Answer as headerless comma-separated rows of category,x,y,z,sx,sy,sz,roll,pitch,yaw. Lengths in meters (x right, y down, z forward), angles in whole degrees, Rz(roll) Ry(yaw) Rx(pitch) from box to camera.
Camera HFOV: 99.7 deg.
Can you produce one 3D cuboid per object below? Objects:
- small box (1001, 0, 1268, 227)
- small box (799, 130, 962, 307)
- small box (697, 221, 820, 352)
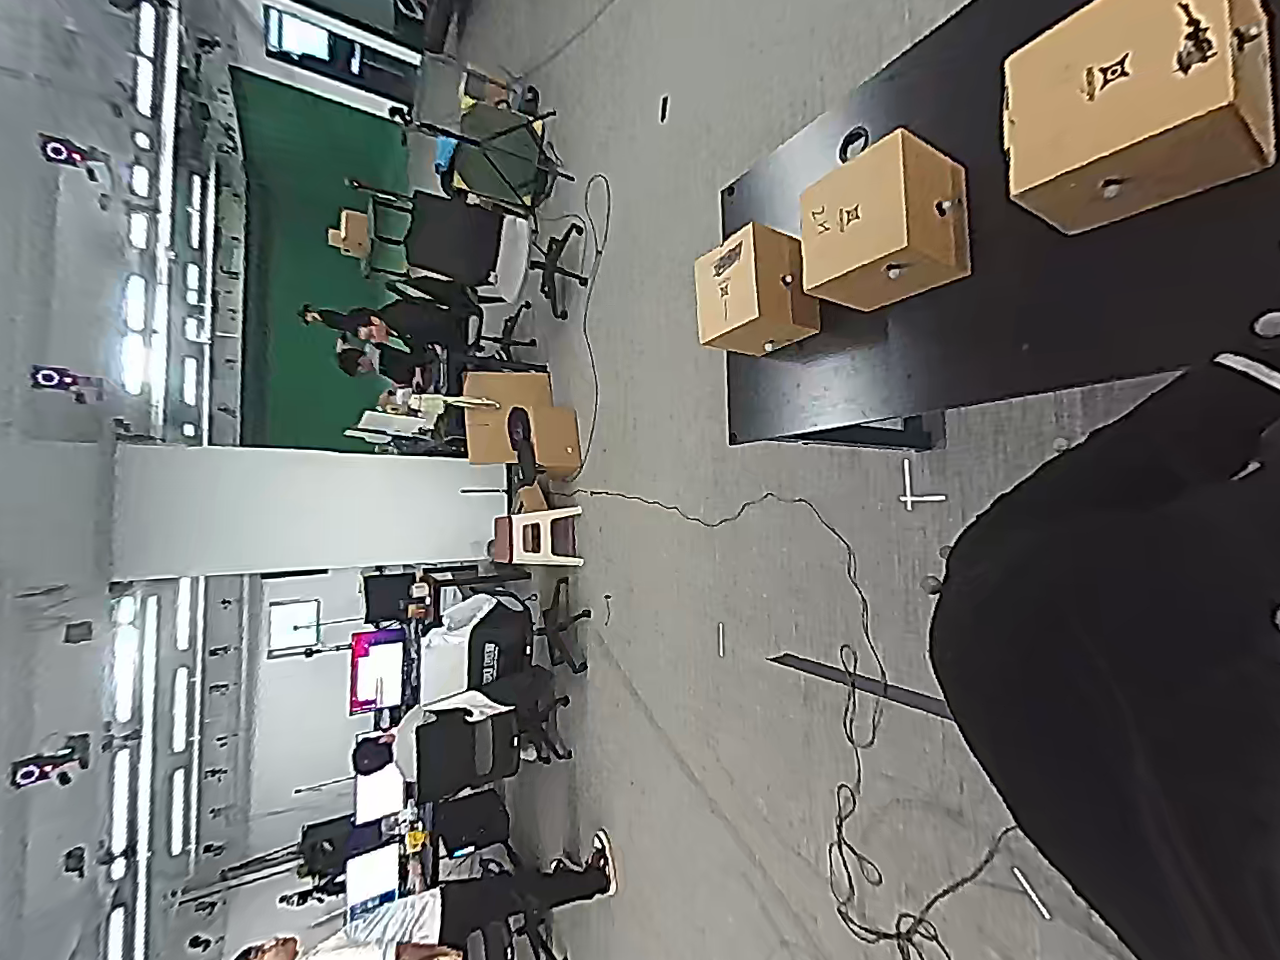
small box,0.531,-0.405,0.589,0.179,0.176,0.168,-4,86,58
small box,0.373,-0.386,0.835,0.179,0.176,0.168,-8,82,57
small box,0.231,-0.367,1.060,0.168,0.176,0.179,-10,81,57
